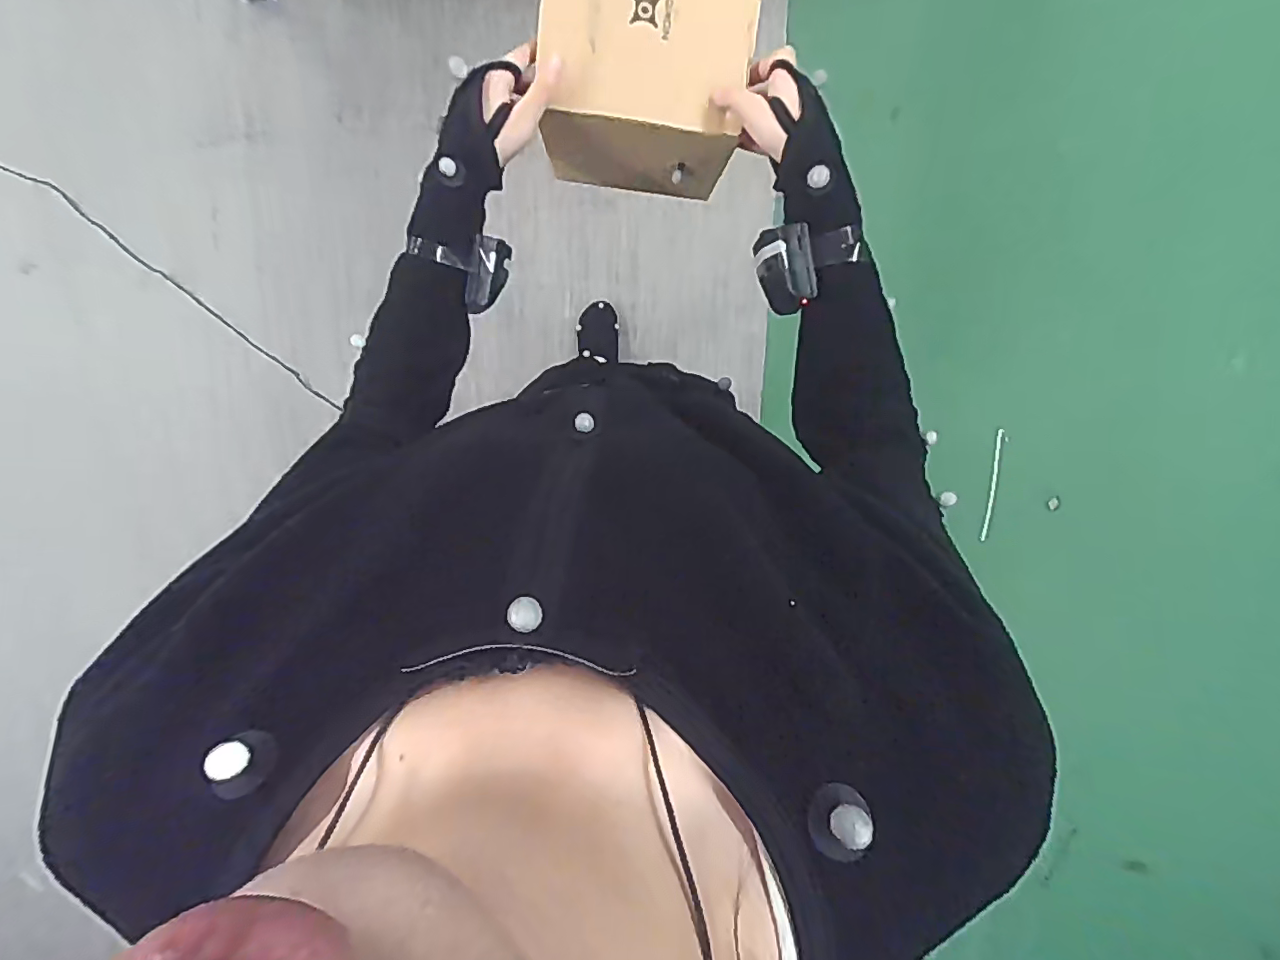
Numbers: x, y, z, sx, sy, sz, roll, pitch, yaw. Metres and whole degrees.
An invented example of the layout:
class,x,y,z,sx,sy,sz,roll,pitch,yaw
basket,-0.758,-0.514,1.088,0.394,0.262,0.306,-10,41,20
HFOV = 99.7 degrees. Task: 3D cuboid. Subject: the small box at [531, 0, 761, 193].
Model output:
class,x,y,z,sx,sy,sz,roll,pitch,yaw
small box,0.004,-0.389,0.505,0.179,0.176,0.168,6,99,-4
